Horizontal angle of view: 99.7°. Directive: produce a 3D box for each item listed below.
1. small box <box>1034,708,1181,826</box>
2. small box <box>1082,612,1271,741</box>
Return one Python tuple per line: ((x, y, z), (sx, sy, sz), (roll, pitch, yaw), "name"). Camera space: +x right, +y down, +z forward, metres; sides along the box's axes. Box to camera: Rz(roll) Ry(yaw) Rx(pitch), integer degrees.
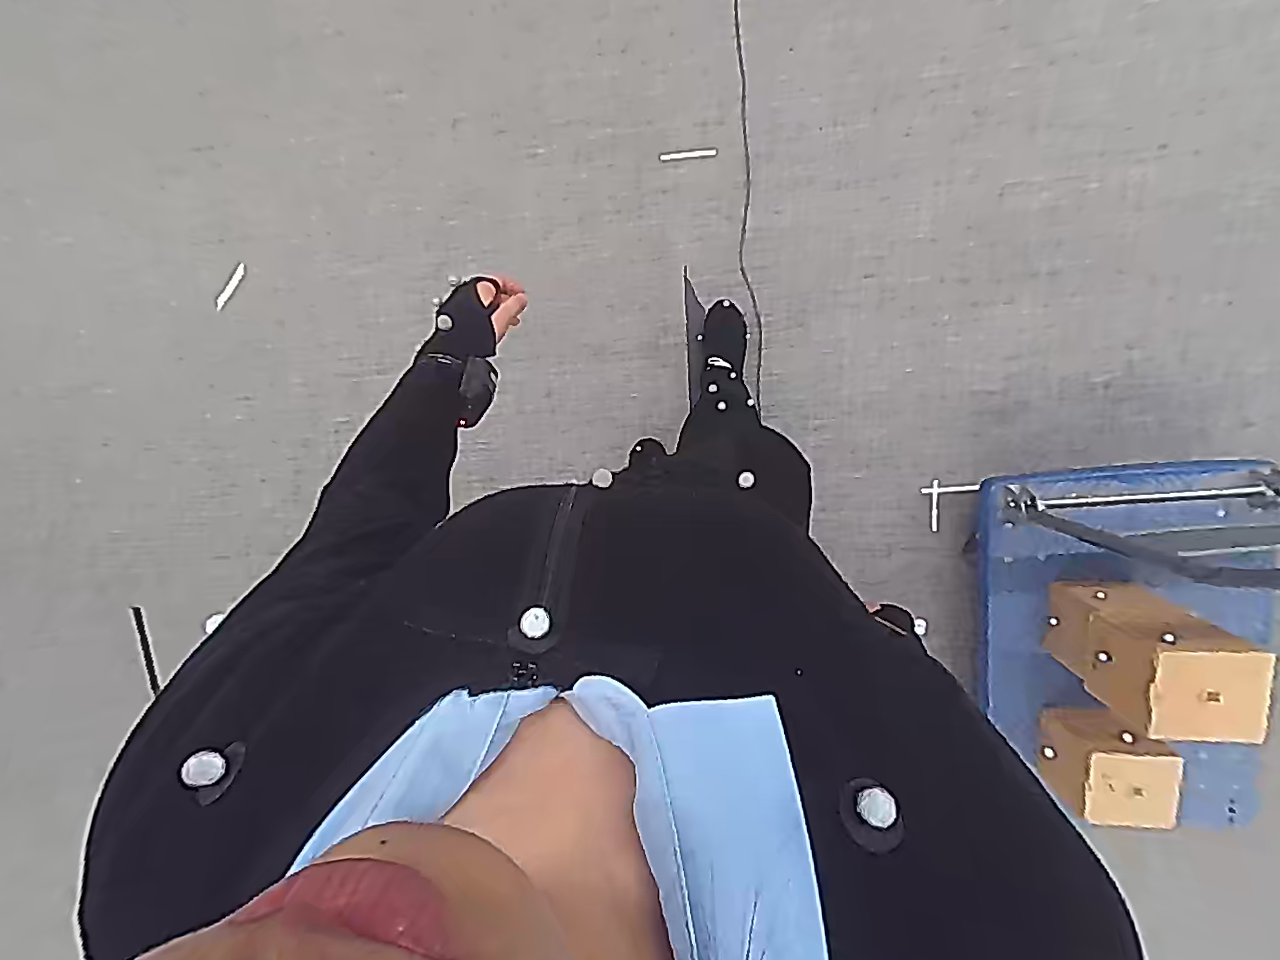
((1.024, 0.628, 1.199), (0.179, 0.176, 0.168), (0, 99, 7), "small box")
((0.970, 0.352, 0.994), (0.179, 0.176, 0.168), (-2, 99, 8), "small box")
